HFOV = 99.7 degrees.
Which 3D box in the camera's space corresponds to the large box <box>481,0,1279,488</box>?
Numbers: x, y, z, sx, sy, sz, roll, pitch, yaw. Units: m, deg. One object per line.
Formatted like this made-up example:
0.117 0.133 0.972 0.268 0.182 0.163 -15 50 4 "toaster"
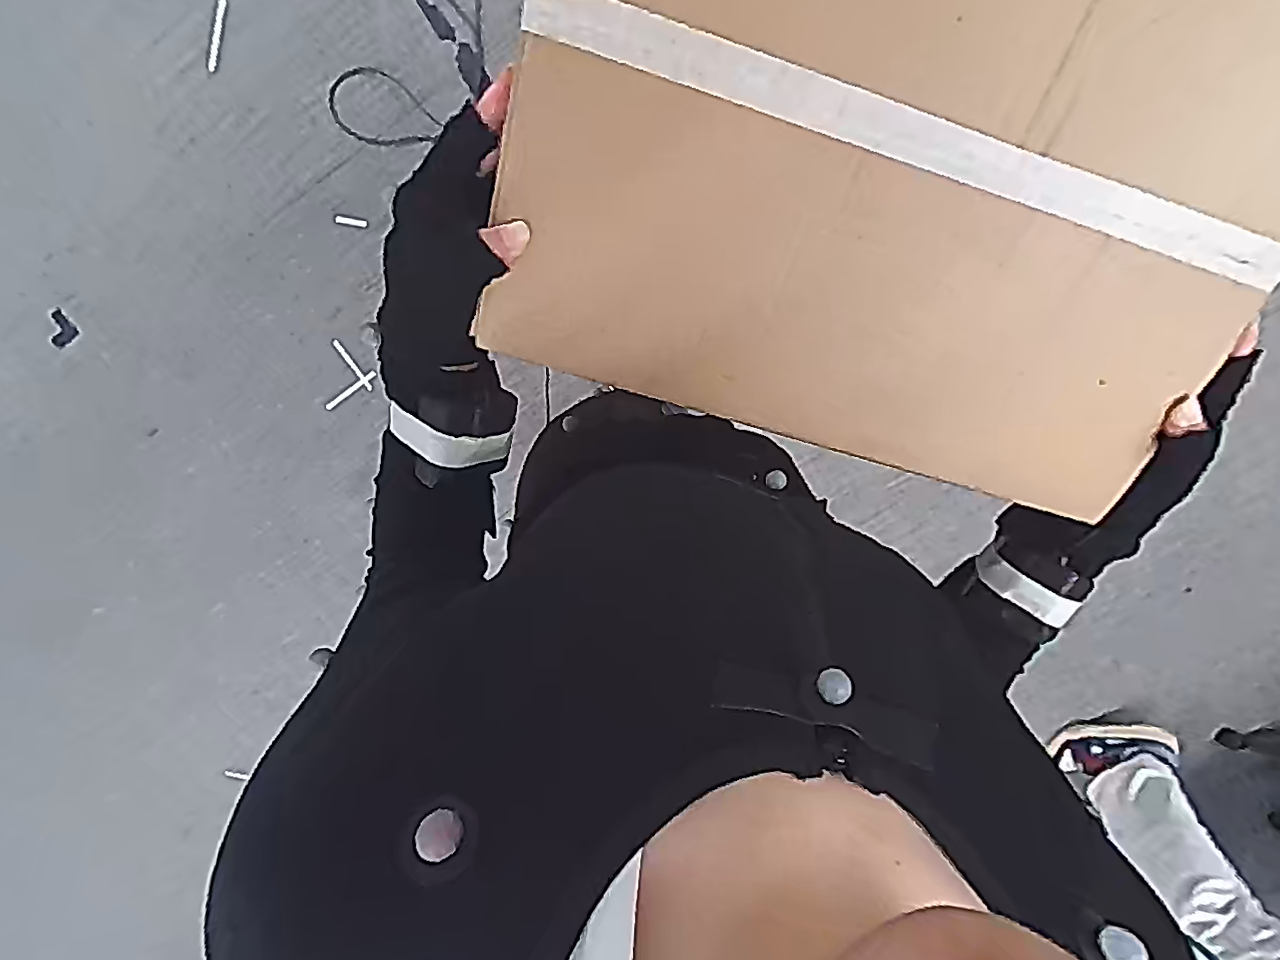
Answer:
0.131 -0.231 0.412 0.408 0.320 0.320 14 114 -6 "large box"
